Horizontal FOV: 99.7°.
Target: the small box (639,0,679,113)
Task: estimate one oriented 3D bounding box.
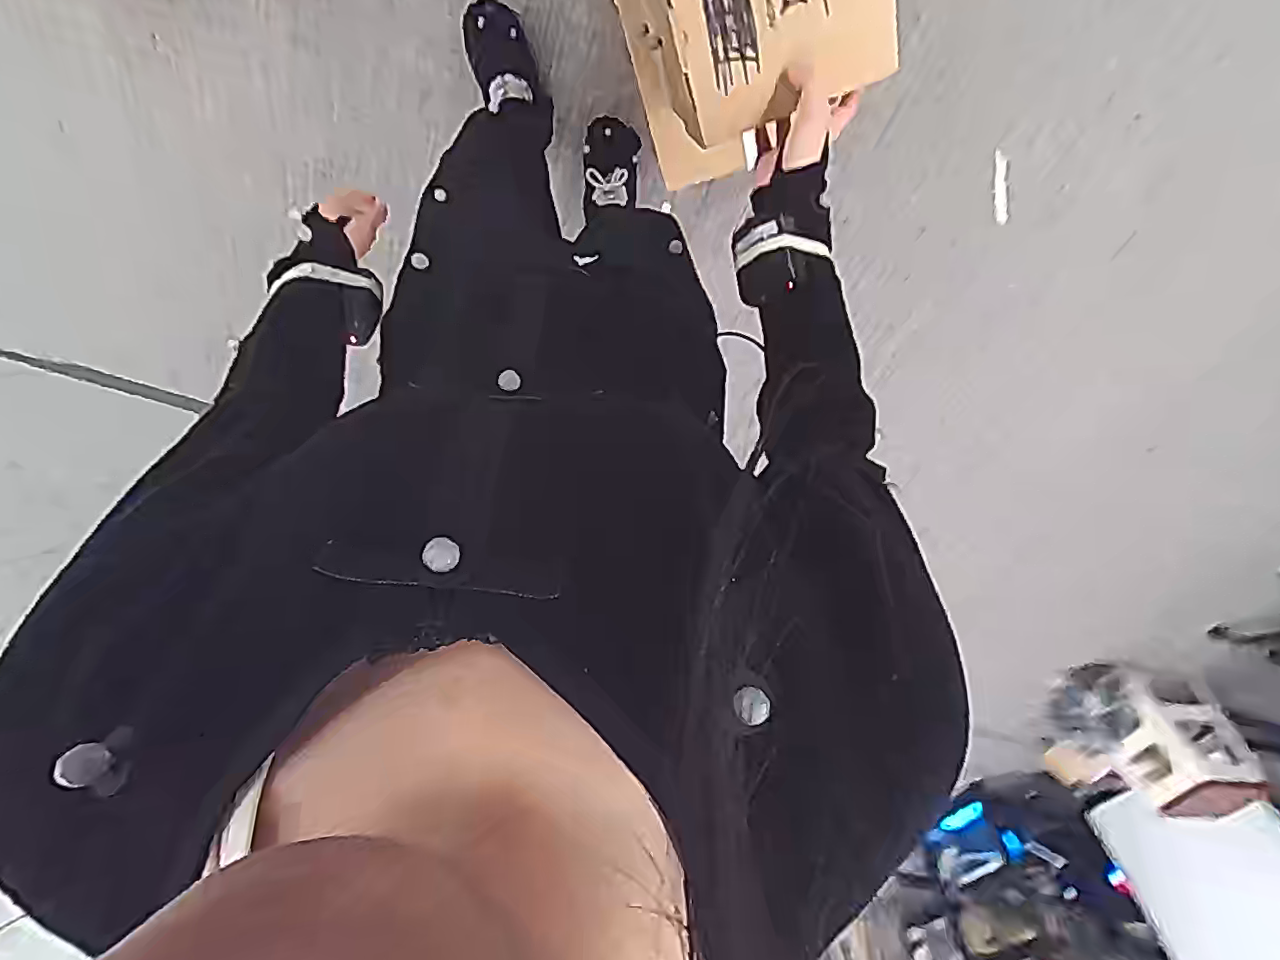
[{"bbox_3d":[0.098,-0.637,0.754,0.179,0.176,0.168,-15,126,10],"label":"small box"}]

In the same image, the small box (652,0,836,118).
[{"bbox_3d":[0.108,-0.541,0.620,0.179,0.176,0.168,-14,127,10],"label":"small box"}]
